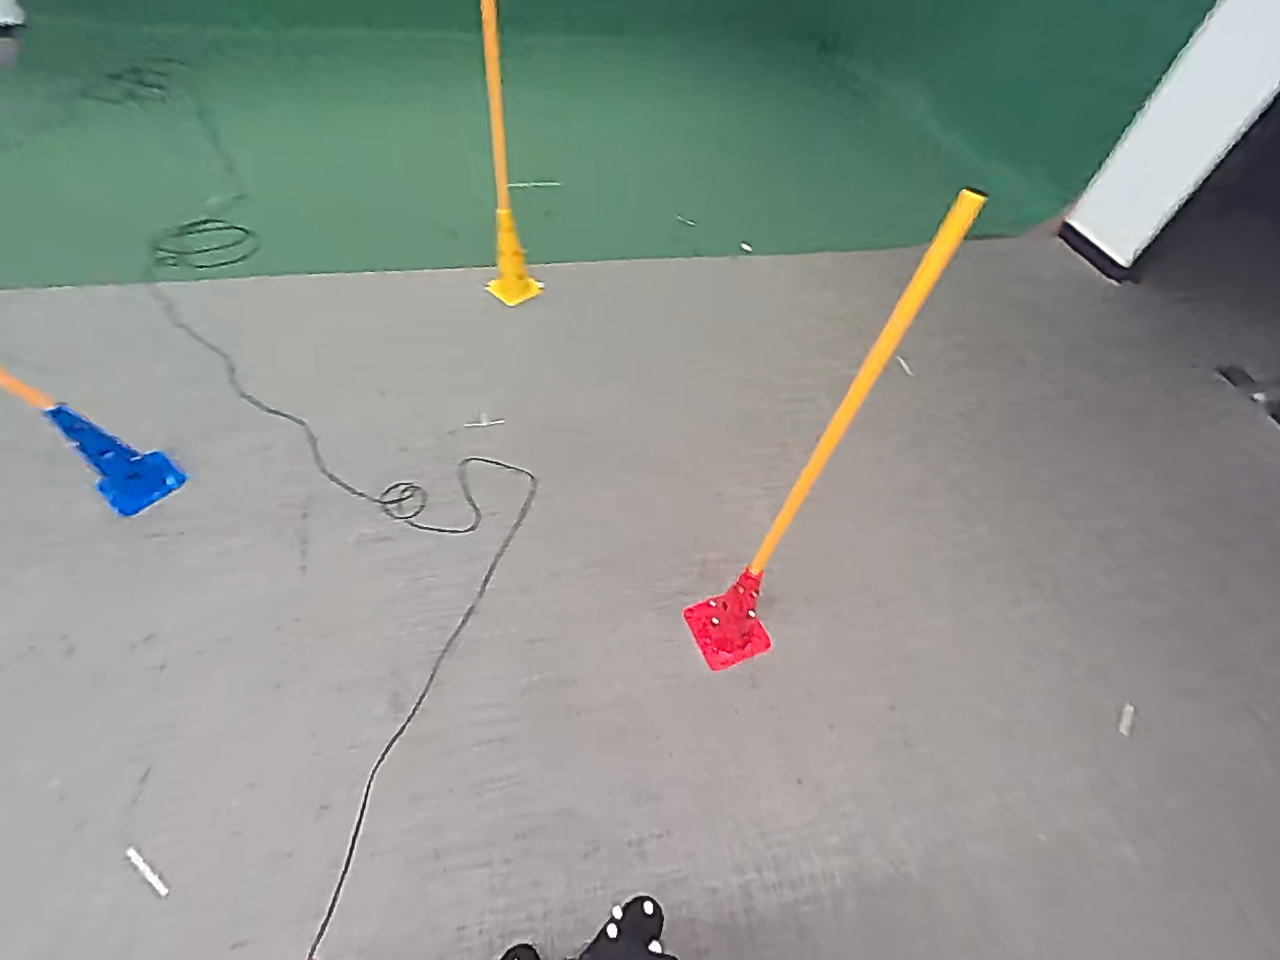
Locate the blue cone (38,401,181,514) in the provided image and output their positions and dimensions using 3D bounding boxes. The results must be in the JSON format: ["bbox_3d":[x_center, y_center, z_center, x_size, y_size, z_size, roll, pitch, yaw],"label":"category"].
[{"bbox_3d":[-1.567,-0.084,1.570,0.192,0.380,0.193,32,60,17],"label":"blue cone"}]
